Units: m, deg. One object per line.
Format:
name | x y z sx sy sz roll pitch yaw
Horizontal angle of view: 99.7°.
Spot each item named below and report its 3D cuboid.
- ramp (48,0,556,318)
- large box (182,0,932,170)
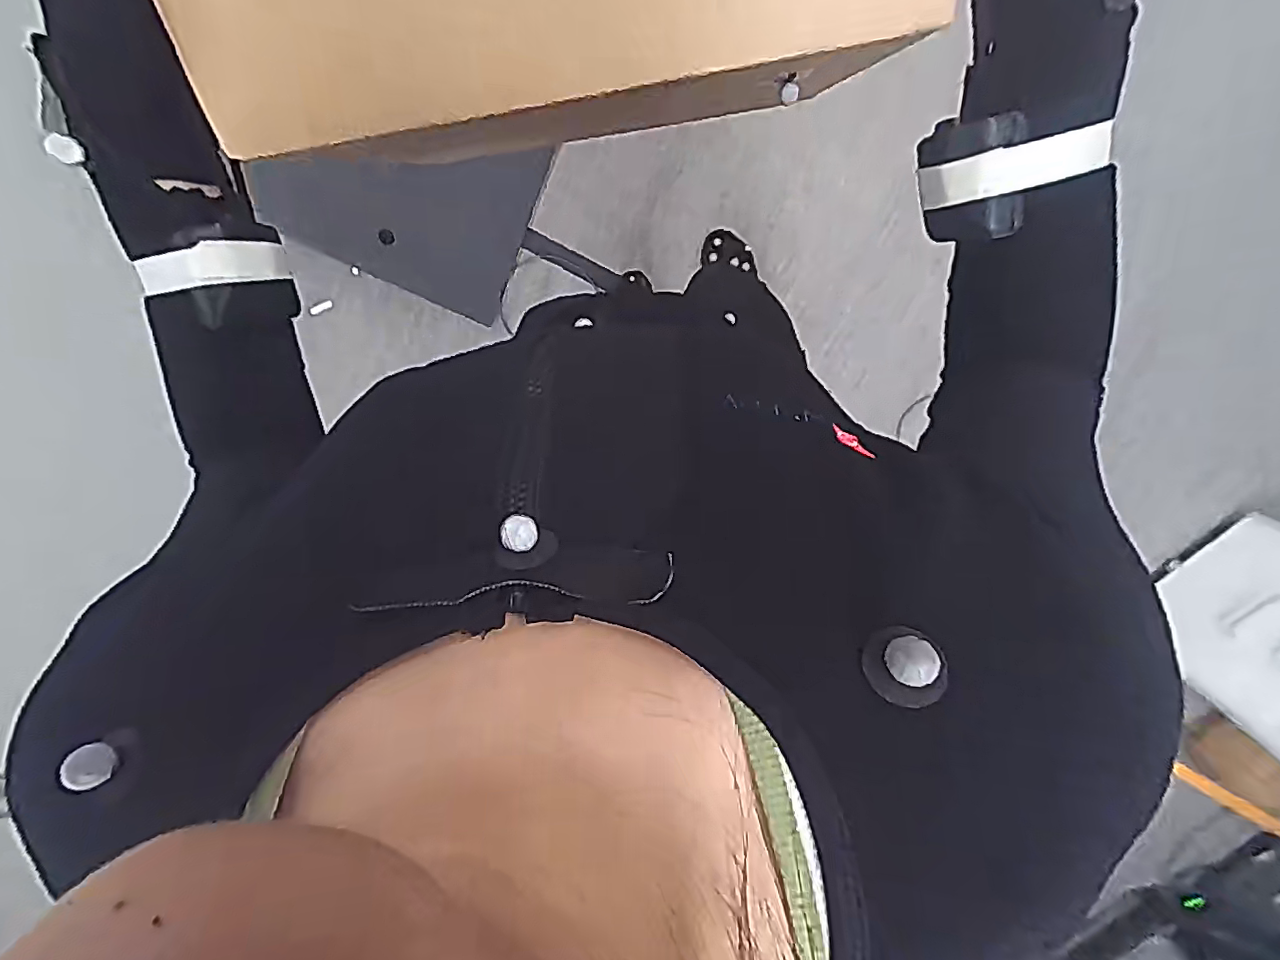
ramp | -0.733 -0.802 1.214 0.991 0.206 0.509 24 111 -5
large box | -0.057 -0.423 0.362 0.408 0.320 0.320 -7 119 8
